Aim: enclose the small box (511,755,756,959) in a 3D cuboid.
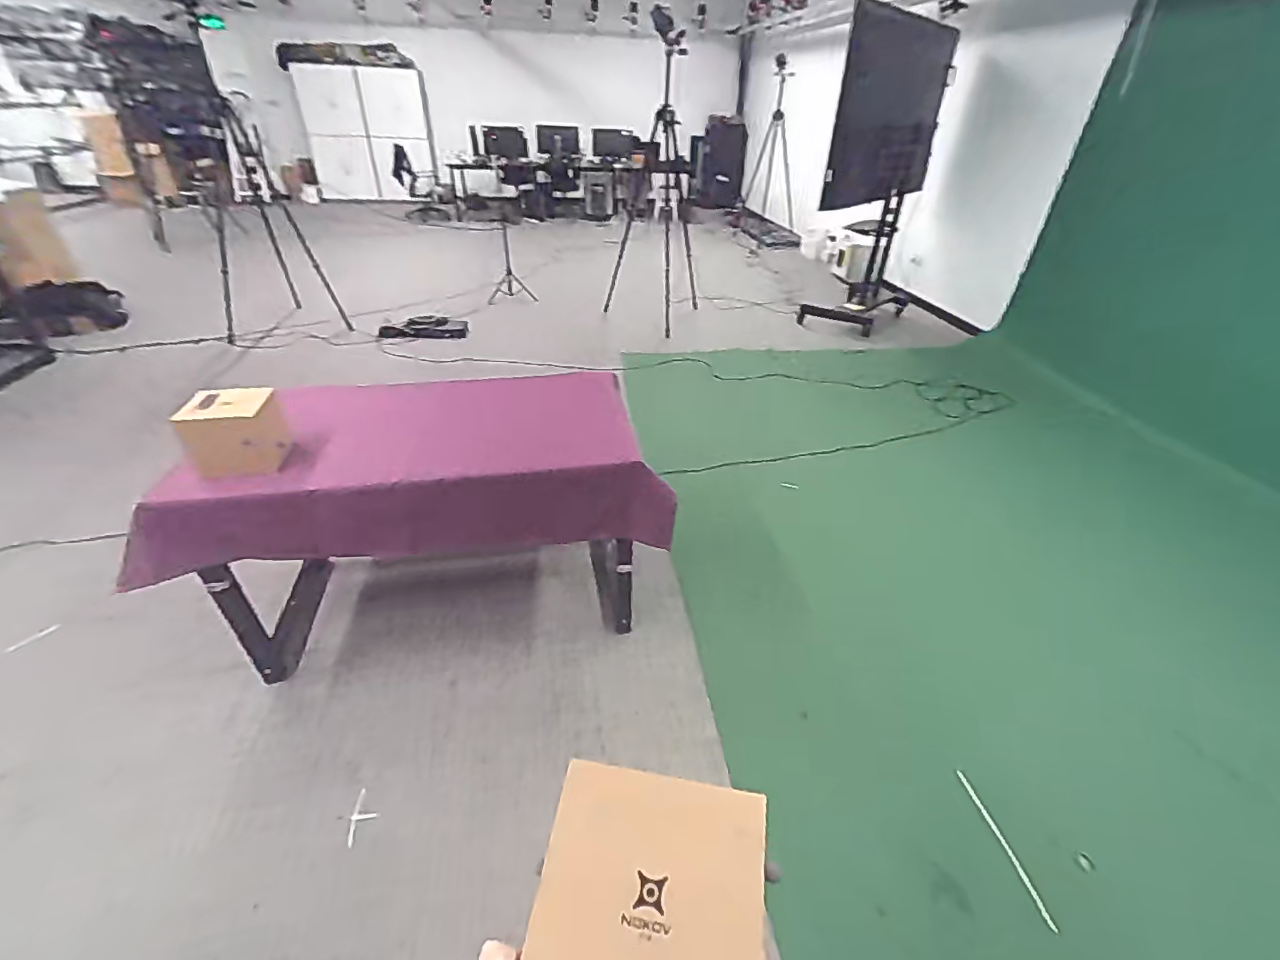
[{"bbox_3d":[0.002,0.360,0.454,0.168,0.176,0.179,5,49,9],"label":"small box"}]
